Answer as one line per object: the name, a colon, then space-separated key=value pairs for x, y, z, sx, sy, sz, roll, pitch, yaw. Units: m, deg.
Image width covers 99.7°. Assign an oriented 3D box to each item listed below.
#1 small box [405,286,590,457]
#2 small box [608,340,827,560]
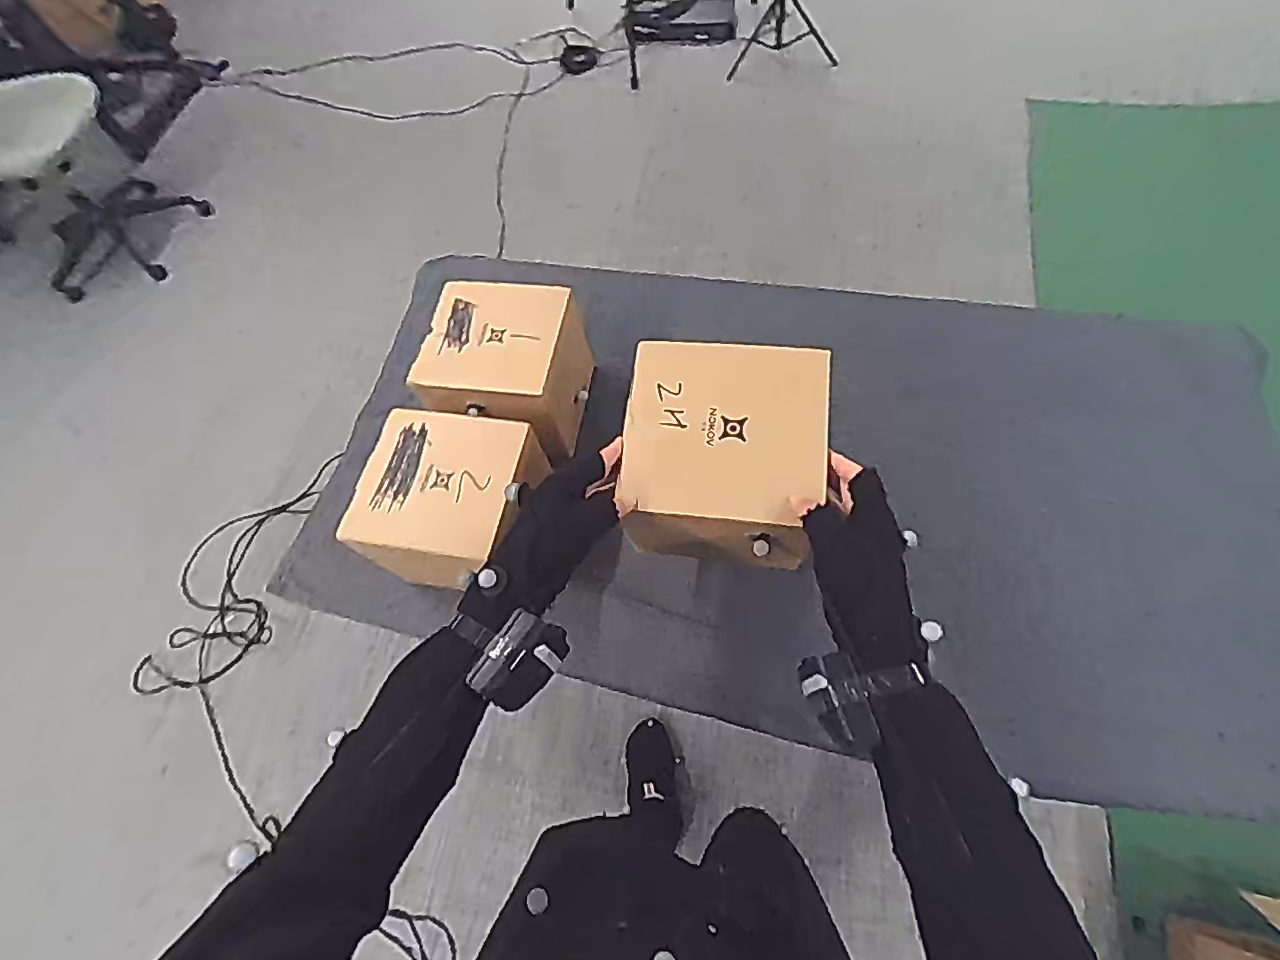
small box: x=-0.181 y=-0.143 z=0.746 sx=0.179 sy=0.176 sz=0.168 roll=6 pitch=67 yaw=9
small box: x=0.079 y=-0.020 z=0.543 sx=0.179 sy=0.176 sz=0.168 roll=5 pitch=71 yaw=10
